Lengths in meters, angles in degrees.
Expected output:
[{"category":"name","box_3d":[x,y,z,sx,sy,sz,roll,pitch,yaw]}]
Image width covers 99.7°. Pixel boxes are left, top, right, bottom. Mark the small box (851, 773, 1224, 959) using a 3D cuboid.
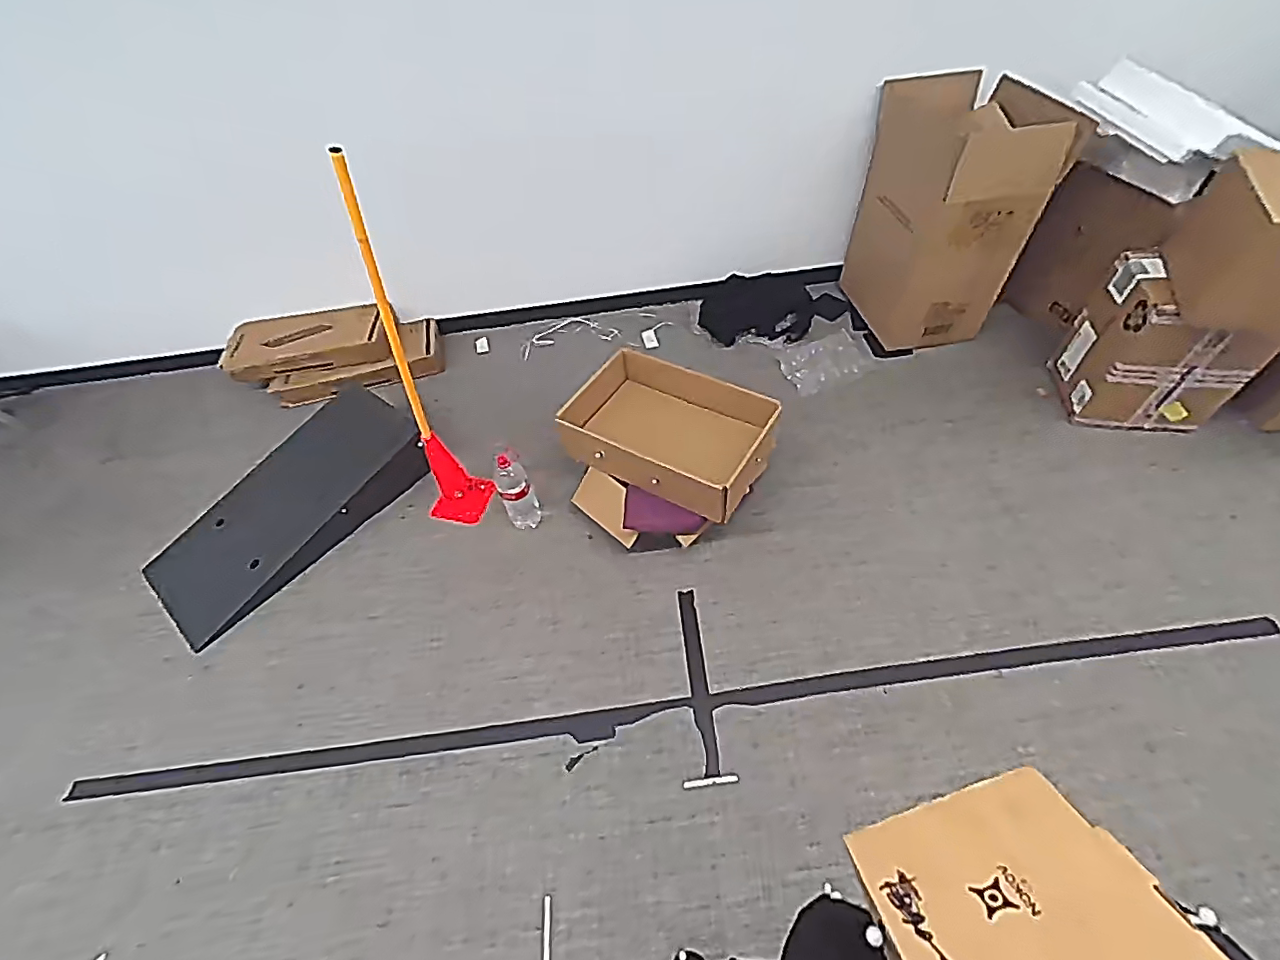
[{"category":"small box","box_3d":[0.295,0.376,0.414,0.179,0.176,0.168,-21,14,2]}]
